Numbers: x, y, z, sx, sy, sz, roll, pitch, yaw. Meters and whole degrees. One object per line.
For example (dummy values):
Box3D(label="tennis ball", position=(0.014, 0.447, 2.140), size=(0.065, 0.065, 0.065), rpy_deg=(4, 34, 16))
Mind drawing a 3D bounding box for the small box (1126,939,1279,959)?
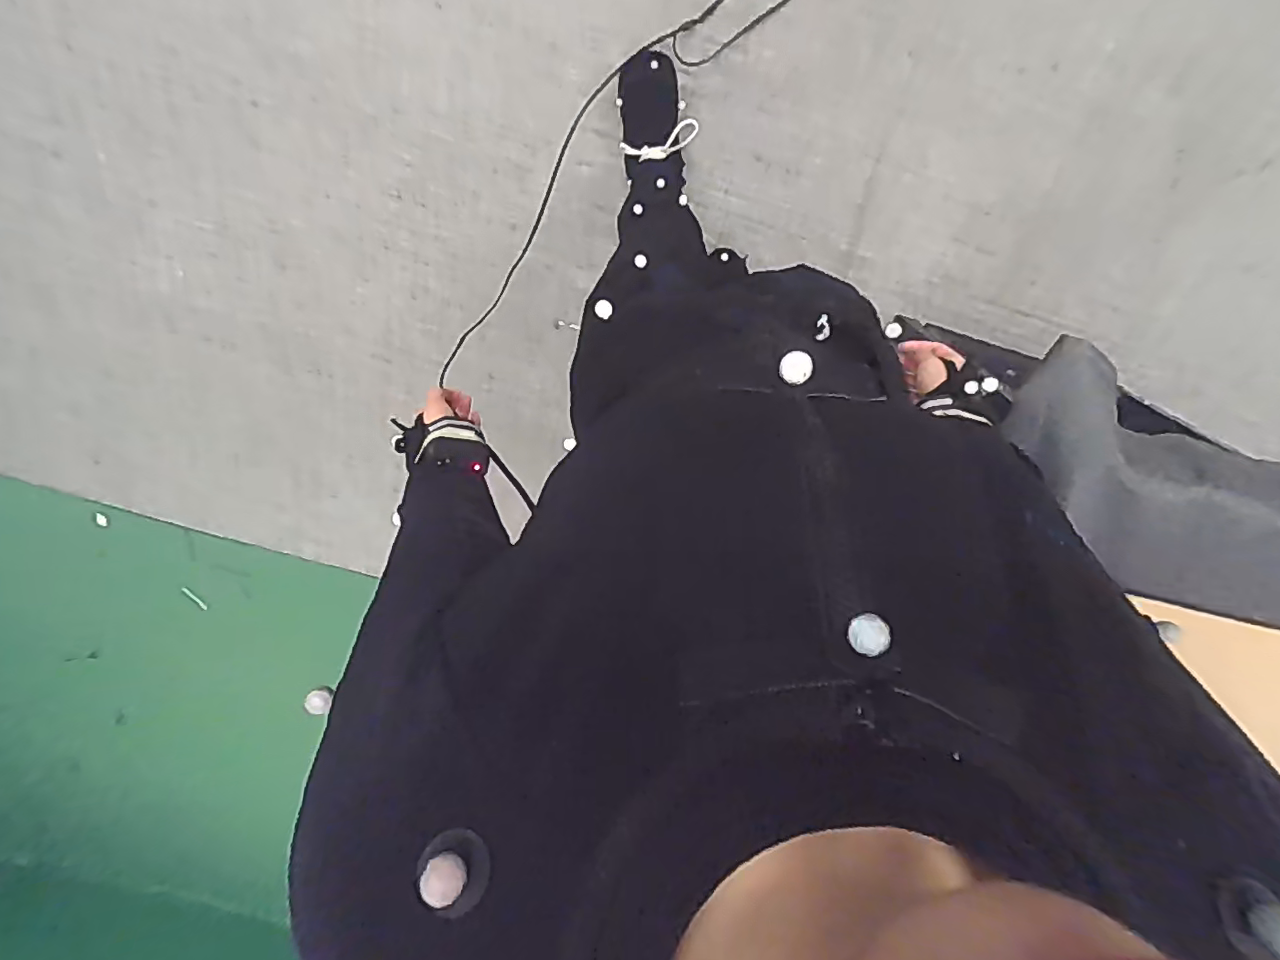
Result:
Box3D(label="small box", position=(0.630, 0.625, 0.573), size=(0.168, 0.176, 0.179), rpy_deg=(5, 123, -3))
